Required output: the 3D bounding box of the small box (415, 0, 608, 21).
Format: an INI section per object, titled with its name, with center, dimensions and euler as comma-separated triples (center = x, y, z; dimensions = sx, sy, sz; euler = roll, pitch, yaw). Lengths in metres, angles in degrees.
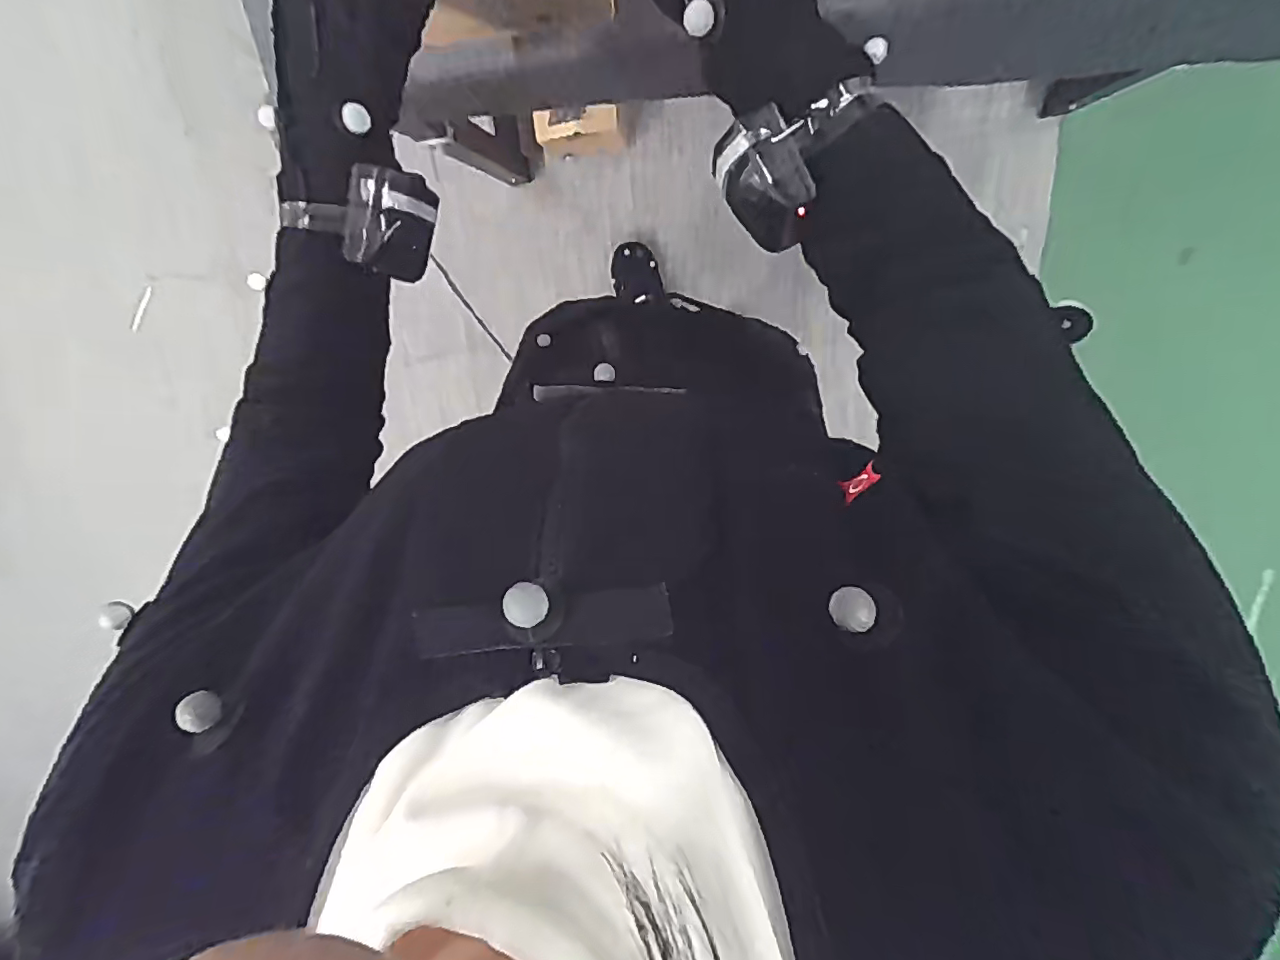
[small box]
center = -0.110, -0.451, 0.368
dimensions = 0.168, 0.176, 0.179
euler = -5, 111, 2
